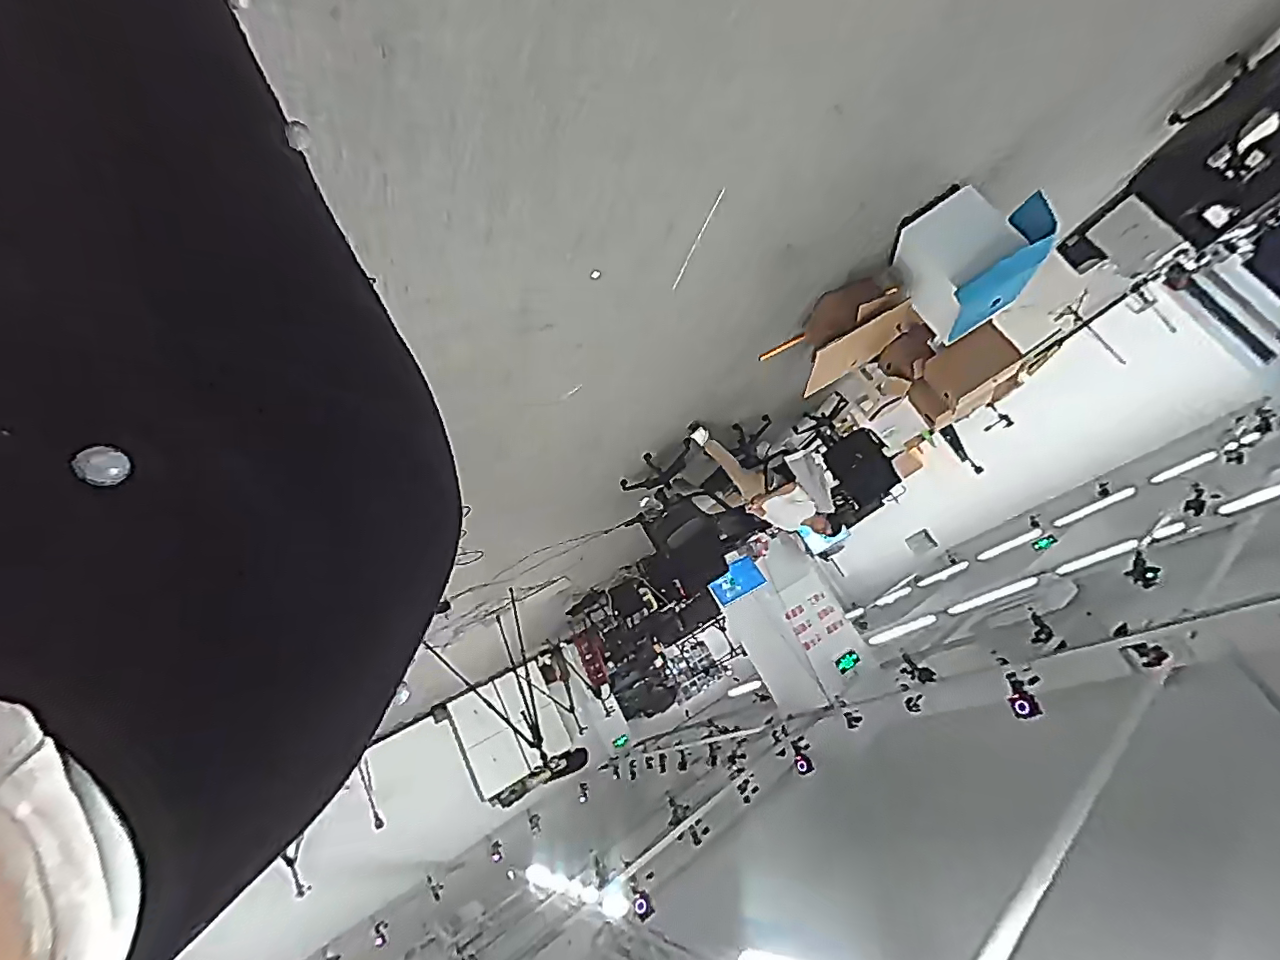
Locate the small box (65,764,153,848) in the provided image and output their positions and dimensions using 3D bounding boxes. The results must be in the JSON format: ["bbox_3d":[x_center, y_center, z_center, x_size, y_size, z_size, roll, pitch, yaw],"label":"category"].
[{"bbox_3d":[-1.695,1.034,1.720,0.168,0.176,0.179,-20,160,-35],"label":"small box"}]

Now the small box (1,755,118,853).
[{"bbox_3d":[-1.574,0.876,1.472,0.168,0.176,0.179,-21,160,-35],"label":"small box"}]
